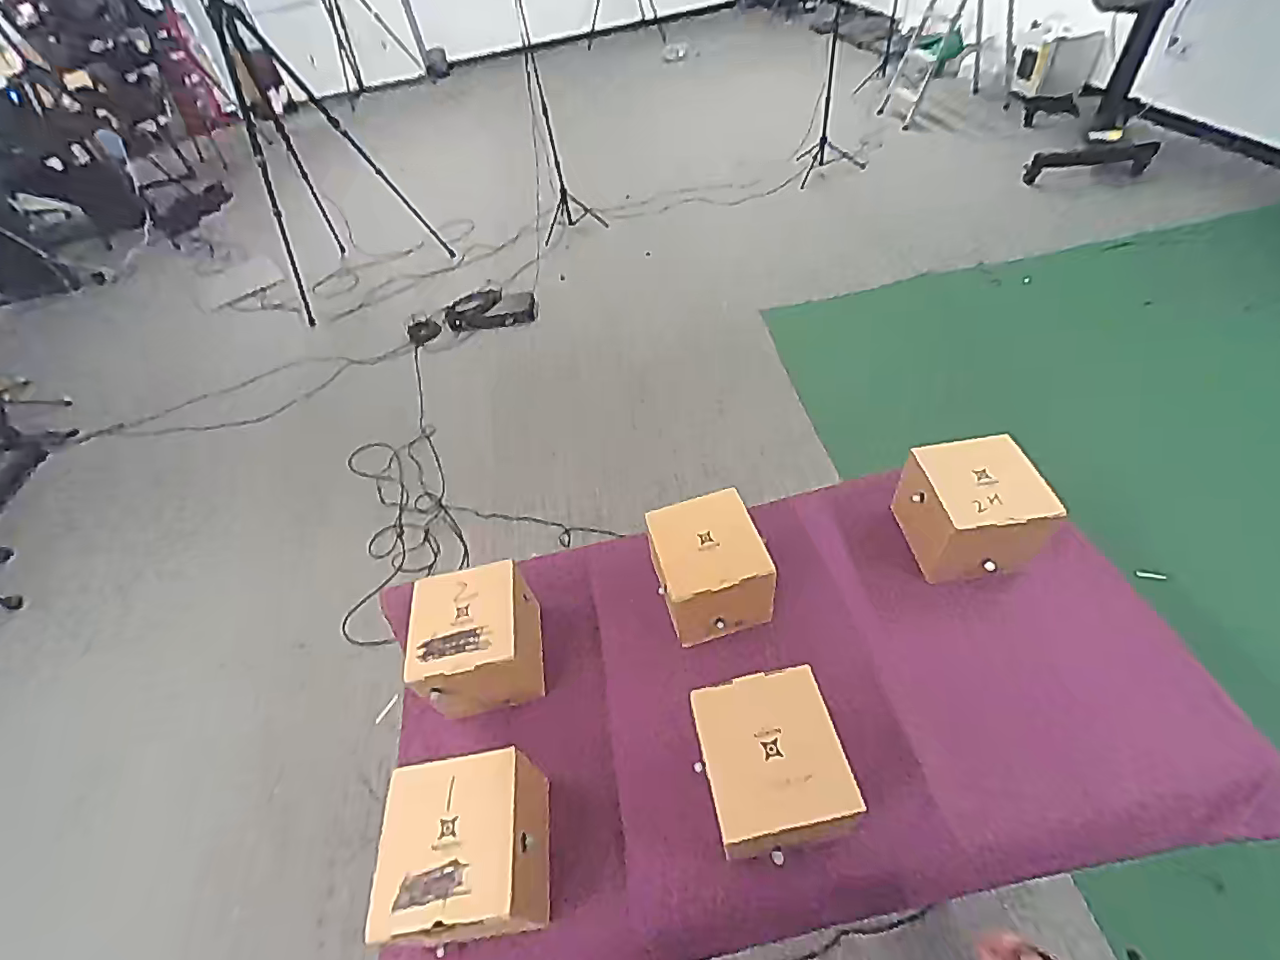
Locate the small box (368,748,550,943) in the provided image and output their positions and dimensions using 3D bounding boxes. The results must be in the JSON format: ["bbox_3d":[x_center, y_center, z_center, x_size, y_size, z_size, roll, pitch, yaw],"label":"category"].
[{"bbox_3d":[-0.215,0.474,0.699,0.168,0.176,0.179,-10,47,0],"label":"small box"}]

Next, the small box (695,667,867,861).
[{"bbox_3d":[0.173,0.378,0.717,0.168,0.176,0.179,-13,48,0],"label":"small box"}]

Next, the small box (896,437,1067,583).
[{"bbox_3d":[0.563,0.053,0.925,0.168,0.176,0.179,-9,50,4],"label":"small box"}]

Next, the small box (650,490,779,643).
[{"bbox_3d":[0.121,0.149,0.924,0.168,0.176,0.179,-16,50,-4],"label":"small box"}]
